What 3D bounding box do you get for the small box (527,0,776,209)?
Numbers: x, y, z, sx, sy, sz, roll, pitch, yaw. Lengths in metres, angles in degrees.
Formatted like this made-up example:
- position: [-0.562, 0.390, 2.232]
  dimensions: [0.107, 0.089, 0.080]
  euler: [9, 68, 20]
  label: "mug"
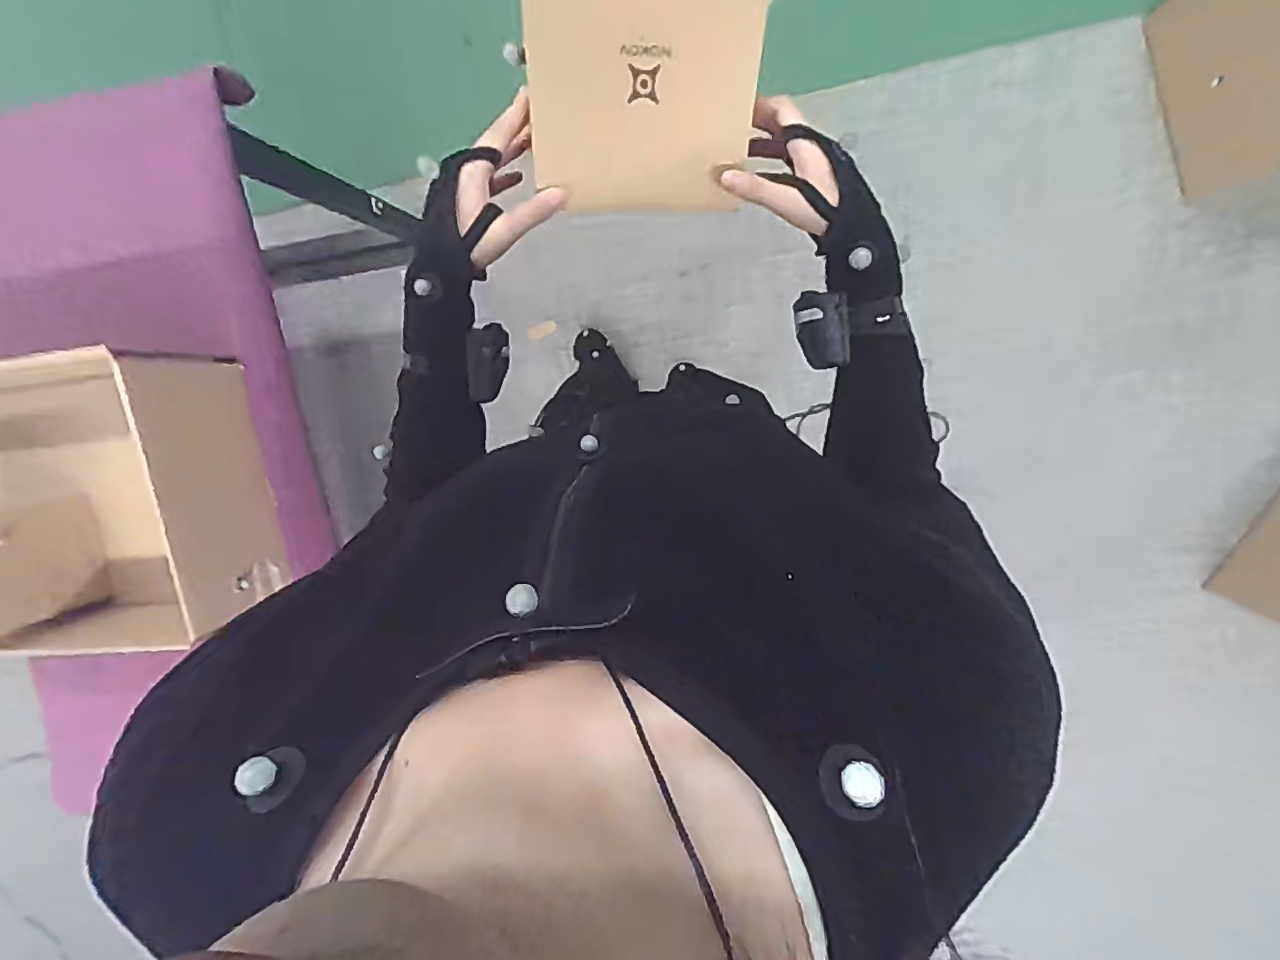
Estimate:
- position: [-0.002, -0.335, 0.435]
  dimensions: [0.168, 0.176, 0.179]
  euler: [-2, 128, -8]
  label: "small box"
